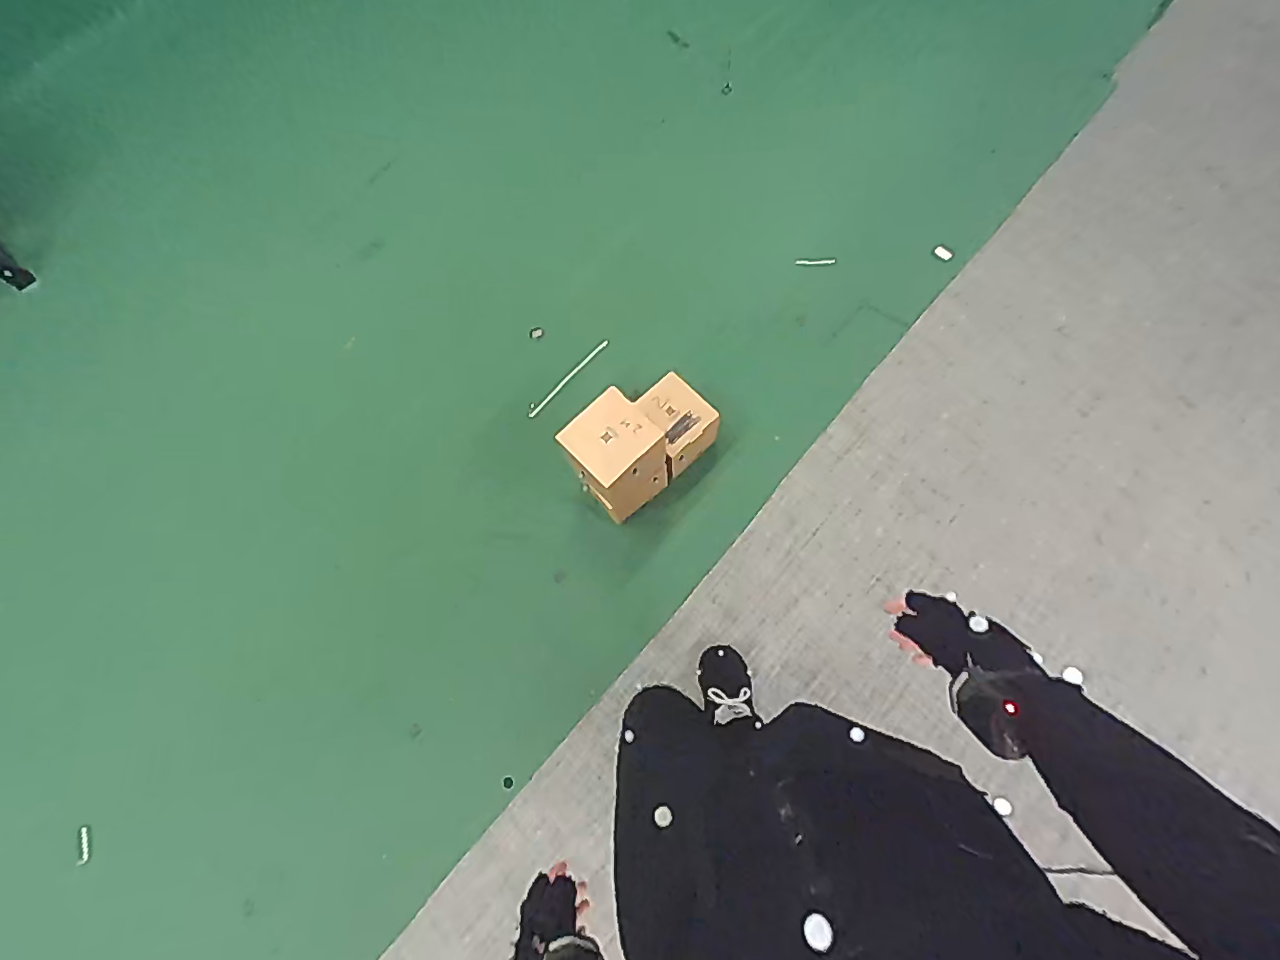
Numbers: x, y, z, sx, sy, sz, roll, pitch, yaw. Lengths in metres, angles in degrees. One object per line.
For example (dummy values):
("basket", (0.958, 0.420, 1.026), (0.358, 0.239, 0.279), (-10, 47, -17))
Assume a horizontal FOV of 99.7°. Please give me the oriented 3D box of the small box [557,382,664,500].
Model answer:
("small box", (-0.057, -0.079, 1.222), (0.179, 0.176, 0.168), (-43, 75, -10))
